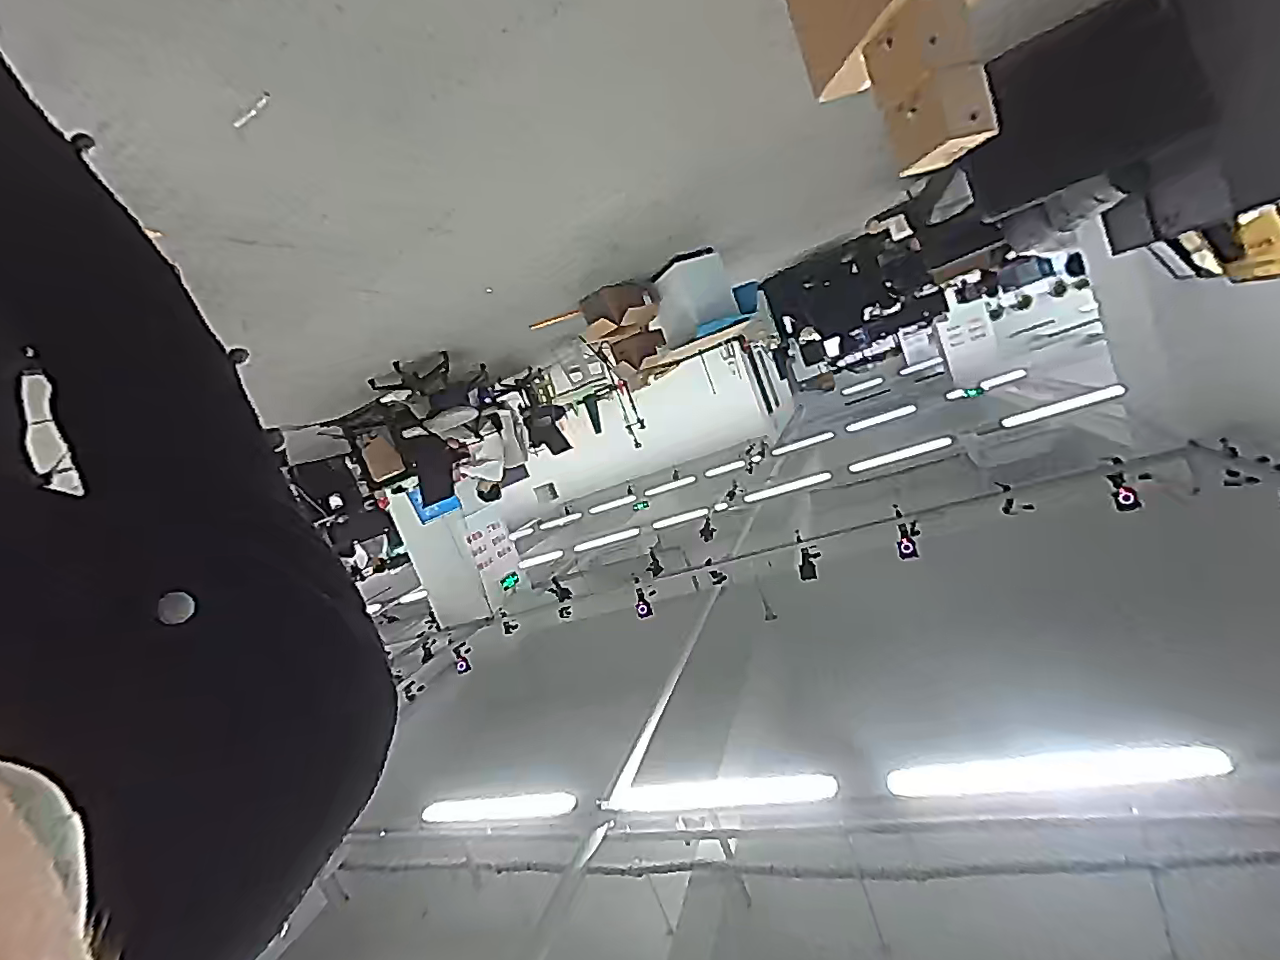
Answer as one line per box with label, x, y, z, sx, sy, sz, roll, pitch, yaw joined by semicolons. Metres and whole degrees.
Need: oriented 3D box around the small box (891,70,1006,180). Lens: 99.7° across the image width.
small box;0.778;-0.900;1.371;0.179;0.176;0.168;-21;-174;-18
